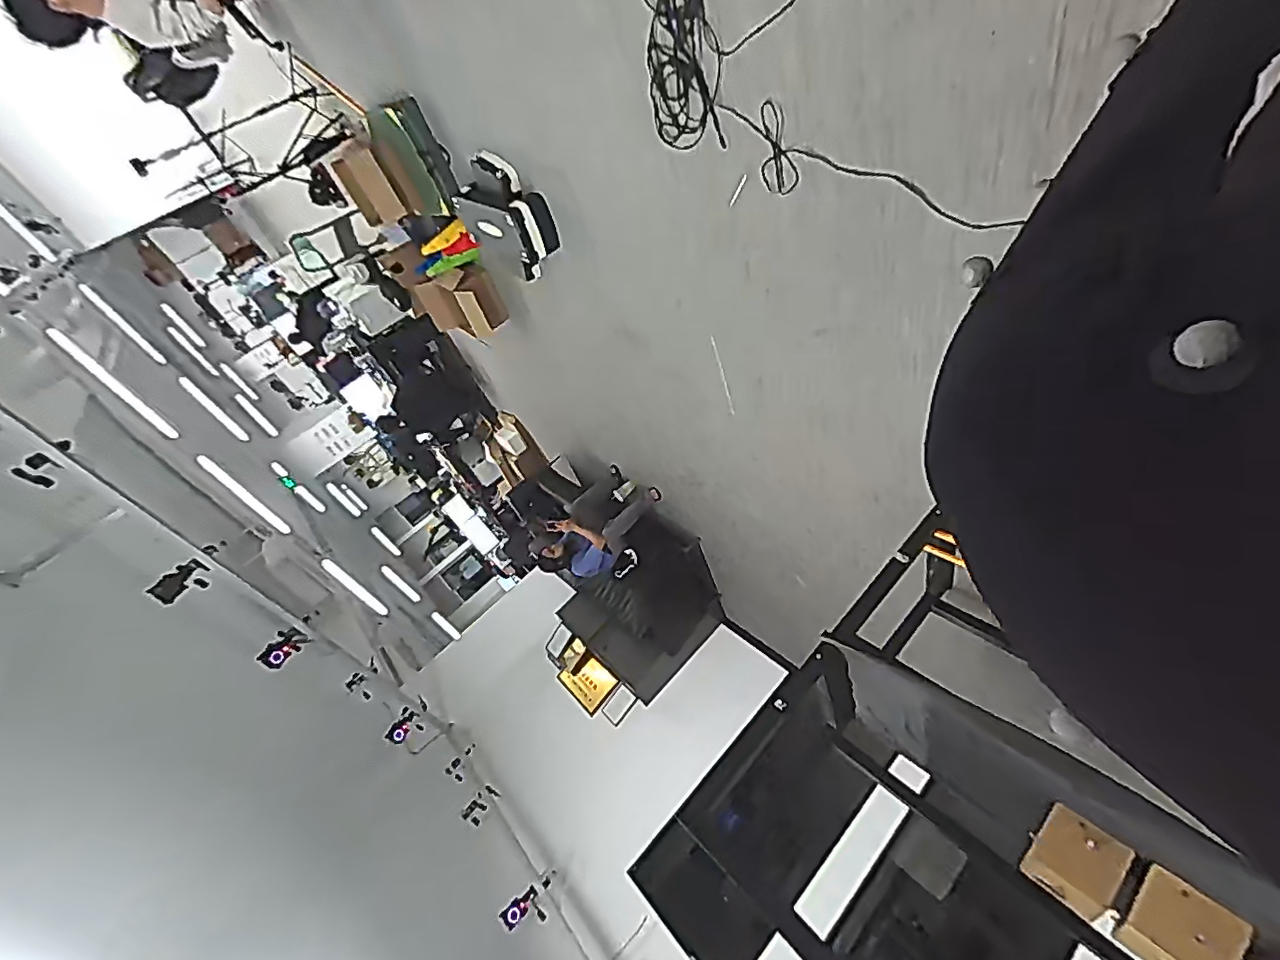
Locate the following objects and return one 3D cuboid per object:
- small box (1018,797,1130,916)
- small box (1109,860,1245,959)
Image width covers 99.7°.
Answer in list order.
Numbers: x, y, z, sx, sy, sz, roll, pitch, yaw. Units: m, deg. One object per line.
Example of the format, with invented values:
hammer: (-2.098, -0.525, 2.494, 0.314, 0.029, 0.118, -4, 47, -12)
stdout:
small box: (1.110, 0.961, 1.387, 0.168, 0.176, 0.179, 28, 153, 43)
small box: (1.230, 1.020, 1.242, 0.168, 0.176, 0.179, 29, 154, 45)
